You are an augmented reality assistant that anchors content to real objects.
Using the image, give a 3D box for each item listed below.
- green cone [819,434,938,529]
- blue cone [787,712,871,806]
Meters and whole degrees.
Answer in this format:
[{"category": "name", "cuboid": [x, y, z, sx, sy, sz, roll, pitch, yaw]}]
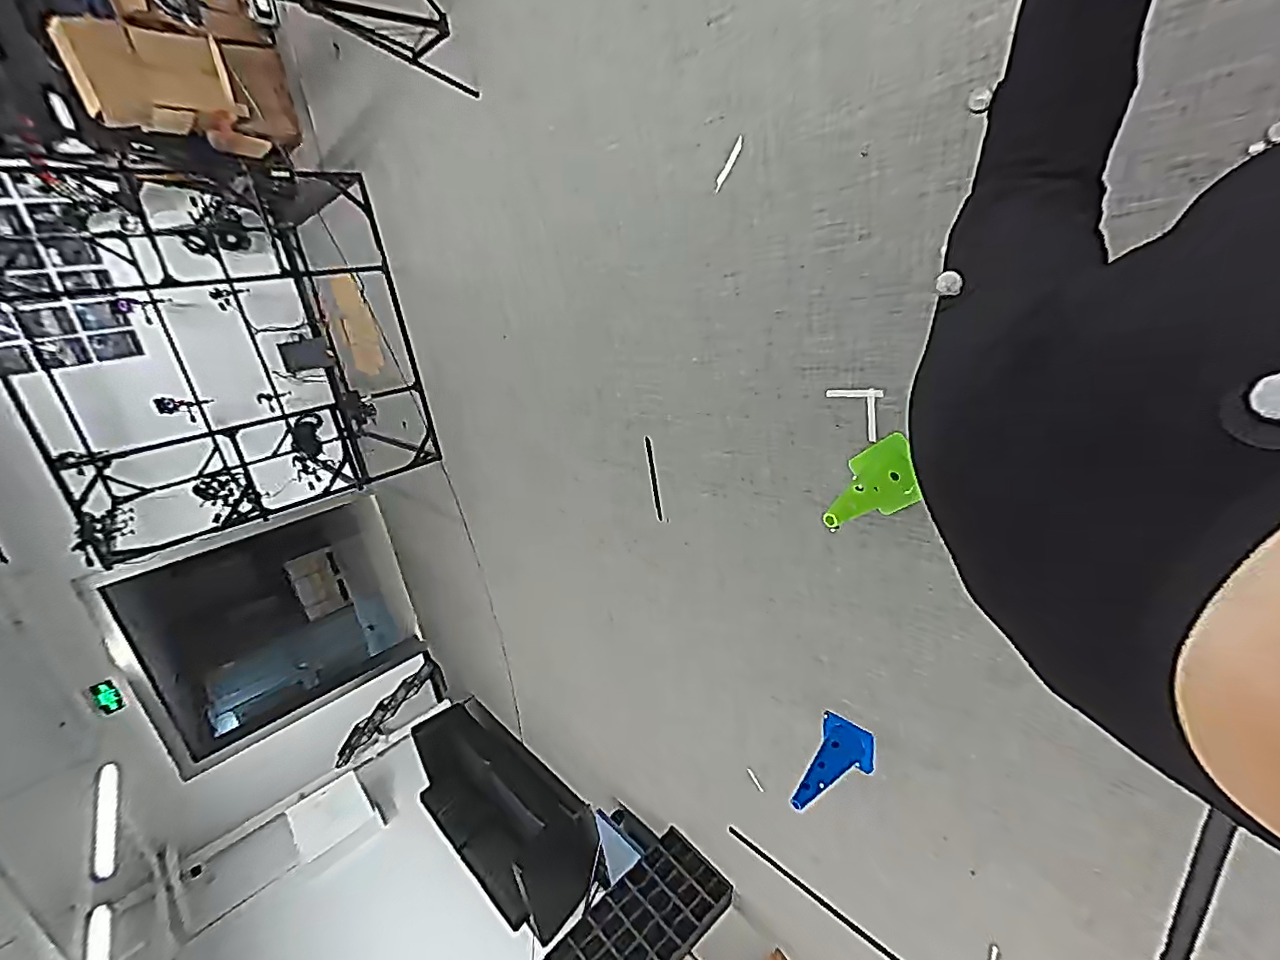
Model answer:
[{"category": "green cone", "cuboid": [0.605, 0.042, 1.474, 0.200, 0.368, 0.202, 59, 144, 11]}, {"category": "blue cone", "cuboid": [0.670, 1.055, 1.974, 0.192, 0.380, 0.193, 18, 123, 46]}]
